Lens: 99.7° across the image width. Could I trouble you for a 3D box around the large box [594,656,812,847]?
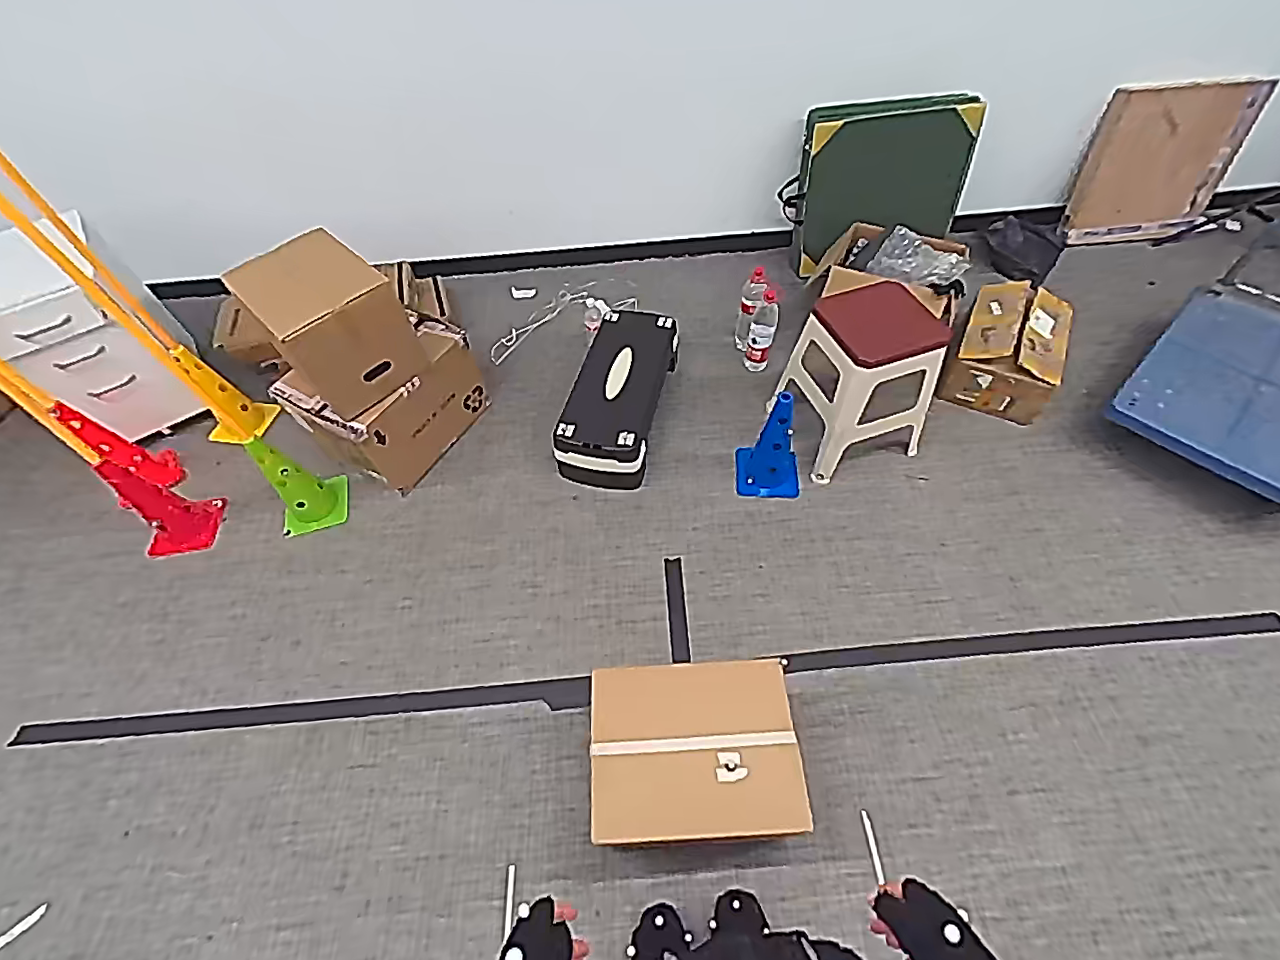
[{"bbox_3d":[0.112,0.603,1.189,0.408,0.320,0.320,-3,55,0],"label":"large box"}]
